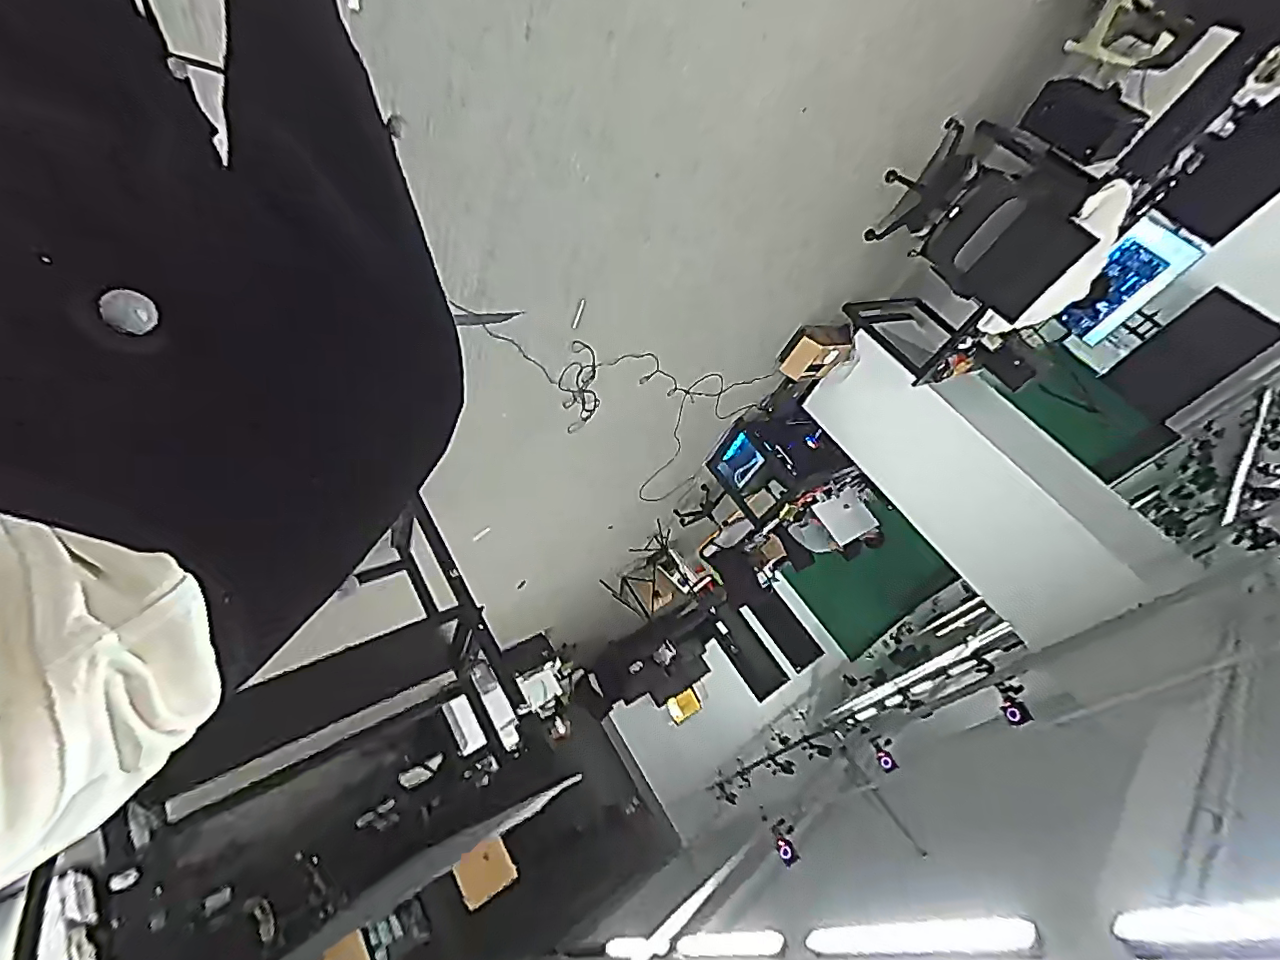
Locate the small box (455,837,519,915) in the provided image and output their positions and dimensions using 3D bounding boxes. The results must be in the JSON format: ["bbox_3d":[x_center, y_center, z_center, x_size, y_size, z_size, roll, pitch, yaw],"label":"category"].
[{"bbox_3d":[-0.572,1.466,2.007,0.168,0.176,0.179,-19,150,-36],"label":"small box"}]

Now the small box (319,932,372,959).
[{"bbox_3d":[-0.859,1.445,1.550,0.168,0.176,0.179,-18,152,-38],"label":"small box"}]
